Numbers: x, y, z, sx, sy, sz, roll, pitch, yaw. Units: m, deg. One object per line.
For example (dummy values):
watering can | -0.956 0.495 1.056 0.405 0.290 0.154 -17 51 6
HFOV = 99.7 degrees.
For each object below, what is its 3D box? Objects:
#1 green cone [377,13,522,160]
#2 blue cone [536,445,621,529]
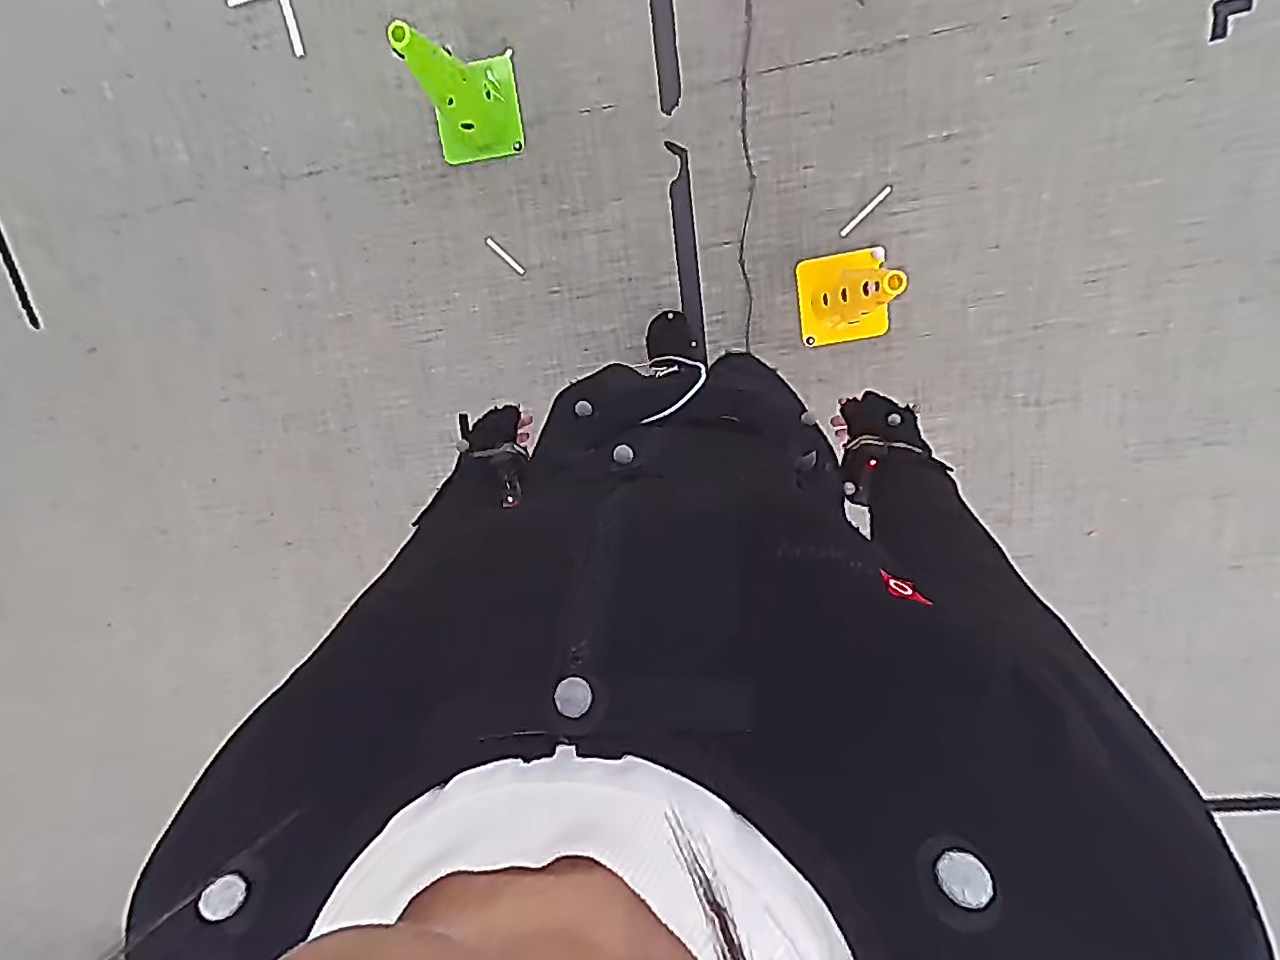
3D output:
green cone | -0.401 -0.822 1.087 0.202 0.368 0.200 -6 104 9
blue cone | -0.169 0.040 1.306 0.192 0.380 0.193 -2 104 8
